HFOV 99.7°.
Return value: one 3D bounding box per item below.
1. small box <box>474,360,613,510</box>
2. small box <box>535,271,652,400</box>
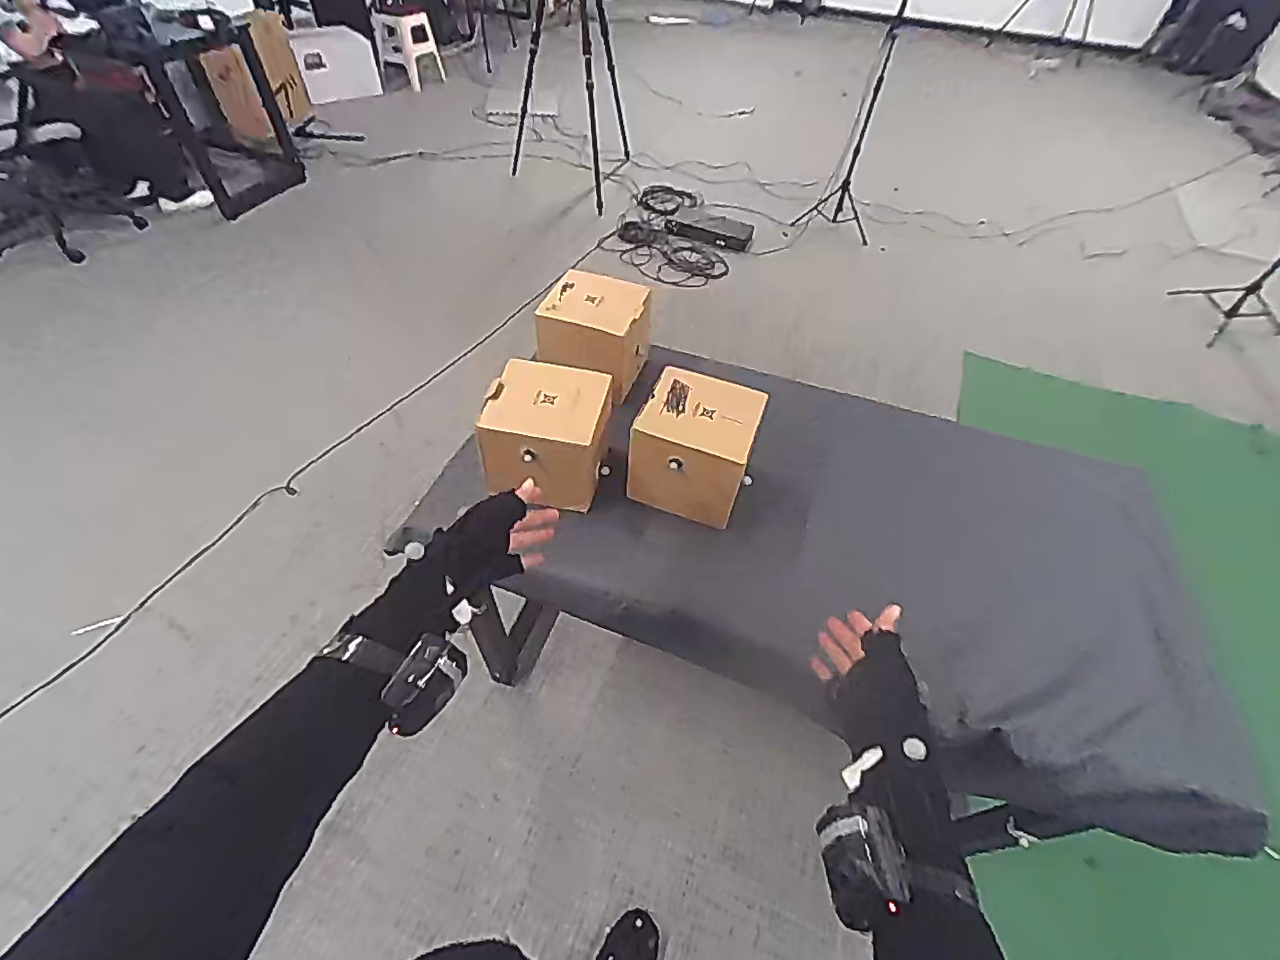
[{"bbox_3d":[-0.150,-0.070,0.893,0.179,0.176,0.168,11,50,3],"label":"small box"},{"bbox_3d":[-0.089,-0.278,1.070,0.179,0.176,0.168,17,52,9],"label":"small box"}]
